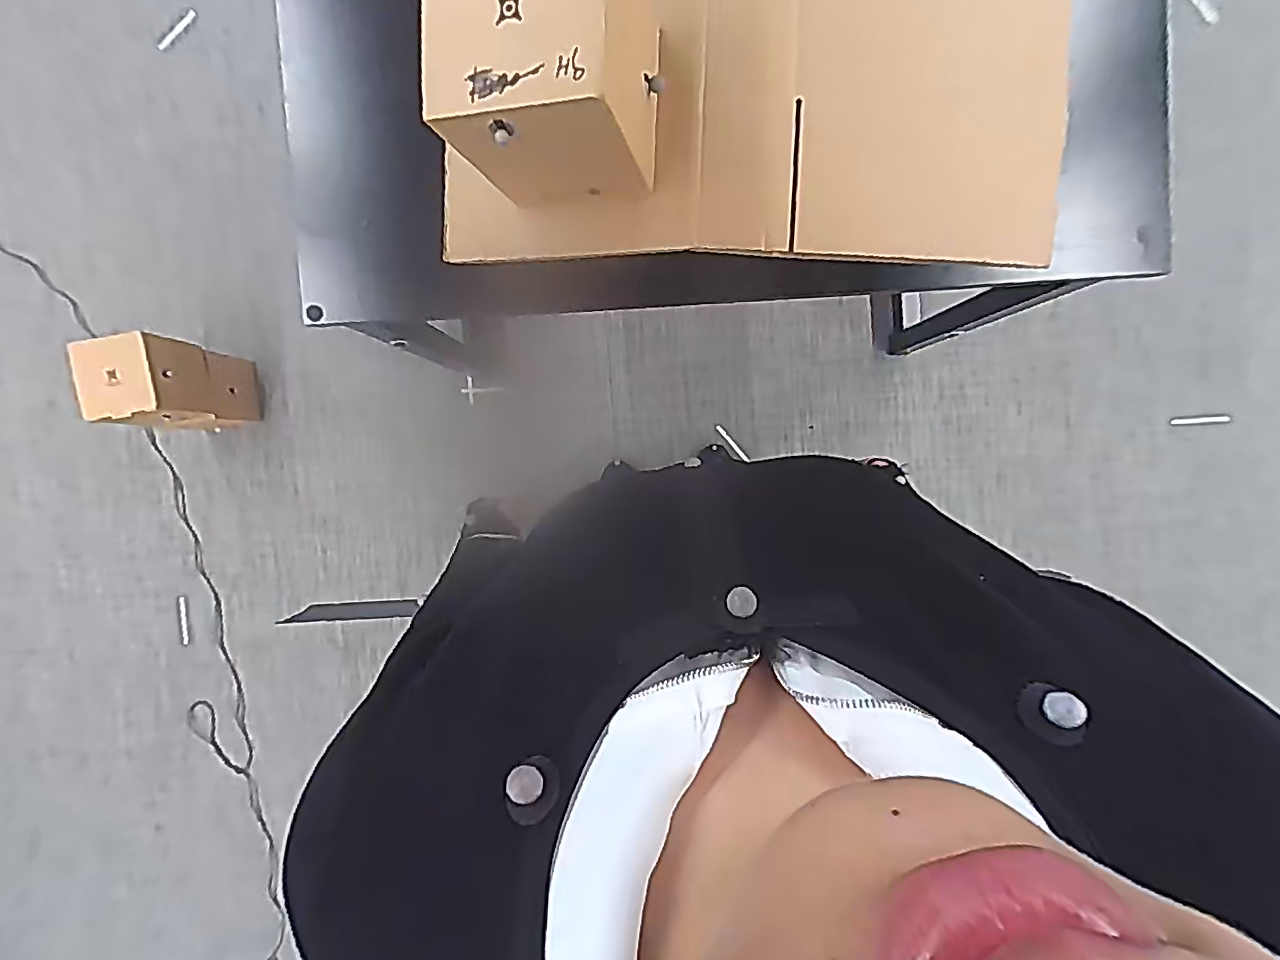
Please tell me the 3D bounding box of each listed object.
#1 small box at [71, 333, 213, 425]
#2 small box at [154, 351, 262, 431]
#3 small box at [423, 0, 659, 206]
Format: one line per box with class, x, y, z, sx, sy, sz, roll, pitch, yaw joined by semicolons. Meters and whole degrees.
small box;-1.139;-0.225;1.253;0.168;0.176;0.179;-10;92;0
small box;-1.136;-0.228;1.416;0.168;0.176;0.179;-7;93;1
small box;-0.080;-0.390;0.513;0.168;0.176;0.179;3;93;15
